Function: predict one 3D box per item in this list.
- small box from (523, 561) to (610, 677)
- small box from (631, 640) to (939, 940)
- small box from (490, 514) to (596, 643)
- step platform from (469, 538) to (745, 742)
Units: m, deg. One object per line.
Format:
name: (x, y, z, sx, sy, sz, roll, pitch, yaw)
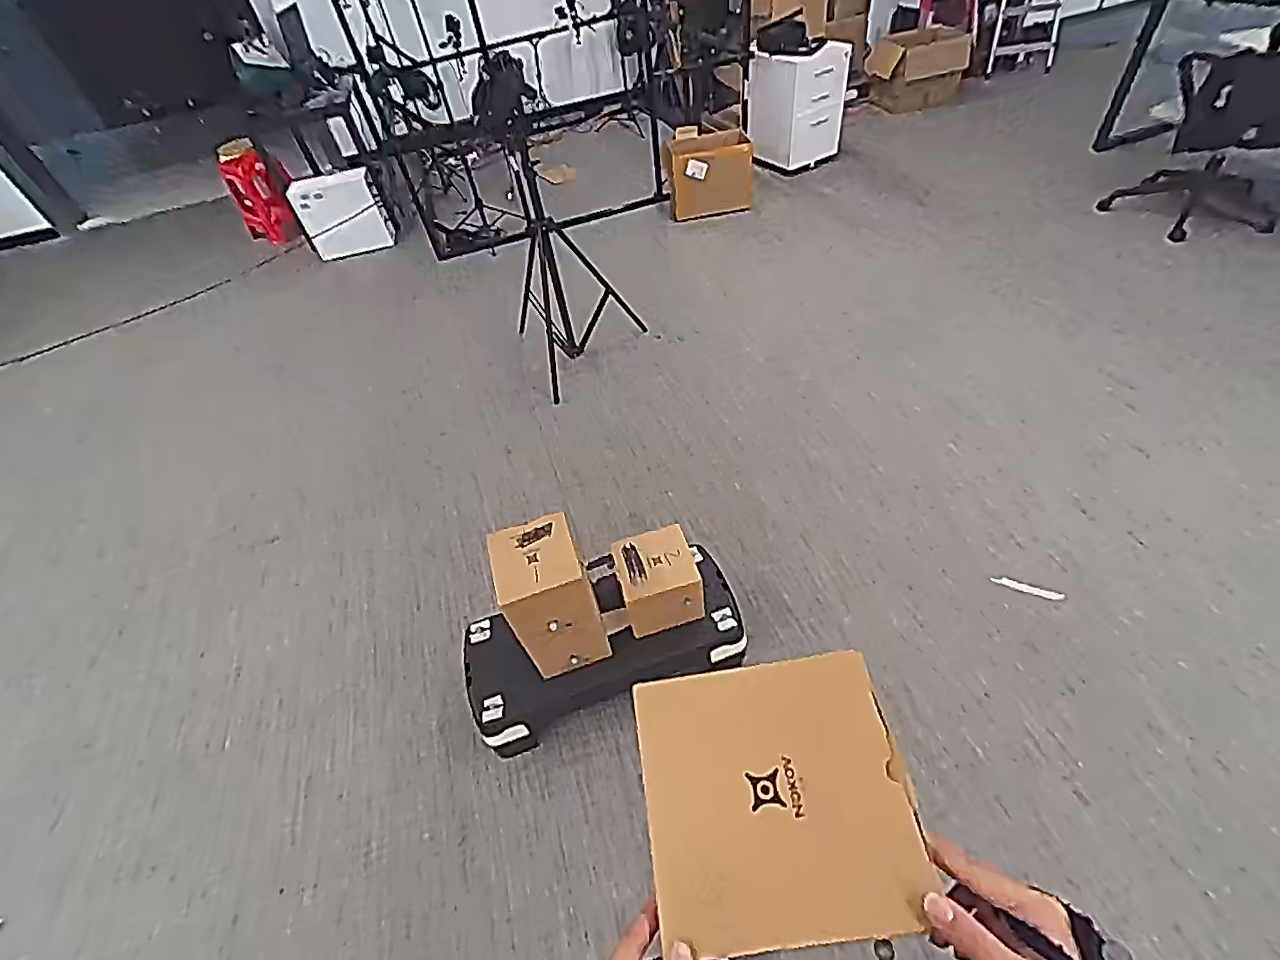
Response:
small box: (-0.176, 0.318, 1.238, 0.168, 0.176, 0.179, -18, 48, -6)
small box: (0.098, 0.247, 0.436, 0.179, 0.176, 0.168, -10, 56, 3)
small box: (-0.199, 0.206, 1.119, 0.168, 0.176, 0.179, -18, 49, -6)
step platform: (-0.083, 0.396, 1.388, 0.684, 0.204, 0.286, -19, 47, -7)
